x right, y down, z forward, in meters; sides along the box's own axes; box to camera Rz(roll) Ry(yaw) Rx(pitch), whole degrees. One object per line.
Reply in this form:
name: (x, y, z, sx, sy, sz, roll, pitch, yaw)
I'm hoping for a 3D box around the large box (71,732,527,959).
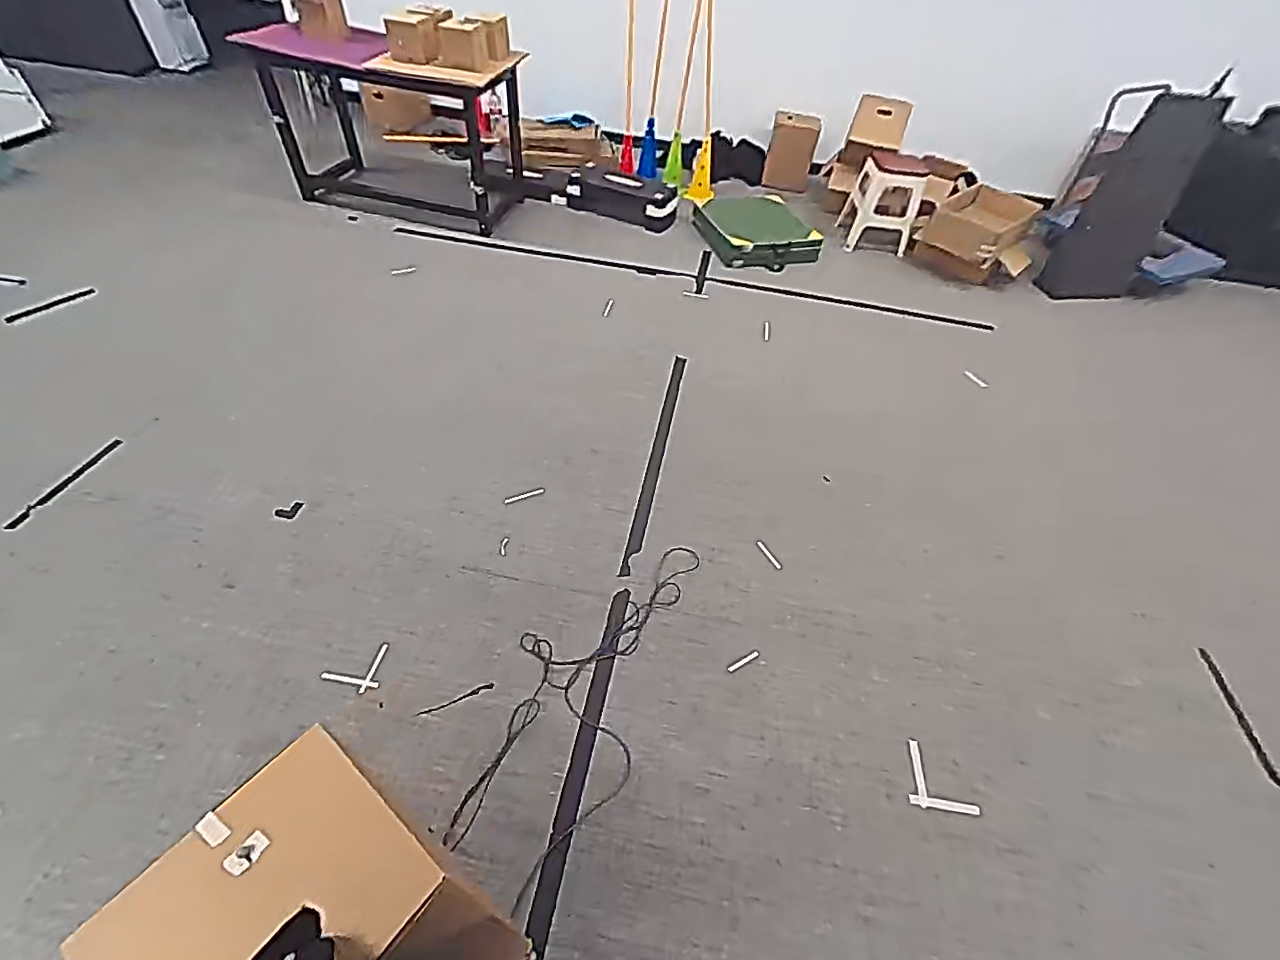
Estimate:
large box: (-0.416, 0.633, 0.742, 0.320, 0.408, 0.320, 25, 51, 32)
